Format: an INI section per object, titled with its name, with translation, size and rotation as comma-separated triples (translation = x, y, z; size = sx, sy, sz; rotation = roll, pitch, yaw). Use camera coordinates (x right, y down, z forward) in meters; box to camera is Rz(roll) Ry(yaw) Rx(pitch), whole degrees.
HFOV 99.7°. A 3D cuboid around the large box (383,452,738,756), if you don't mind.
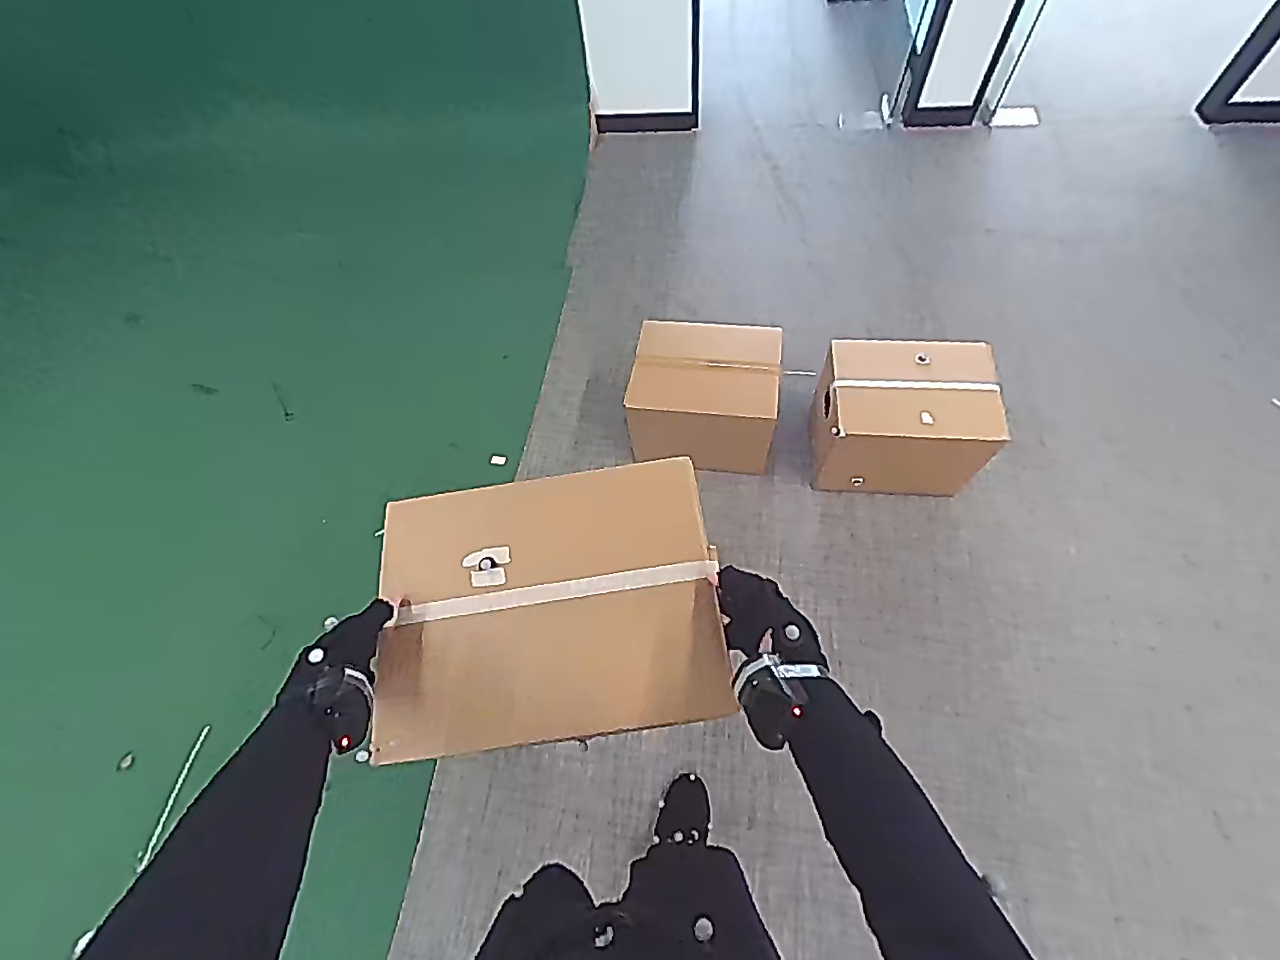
[large box]
translation = -0.093, 0.191, 0.784
size = 0.408, 0.320, 0.320
rotation = -9, 65, 3
